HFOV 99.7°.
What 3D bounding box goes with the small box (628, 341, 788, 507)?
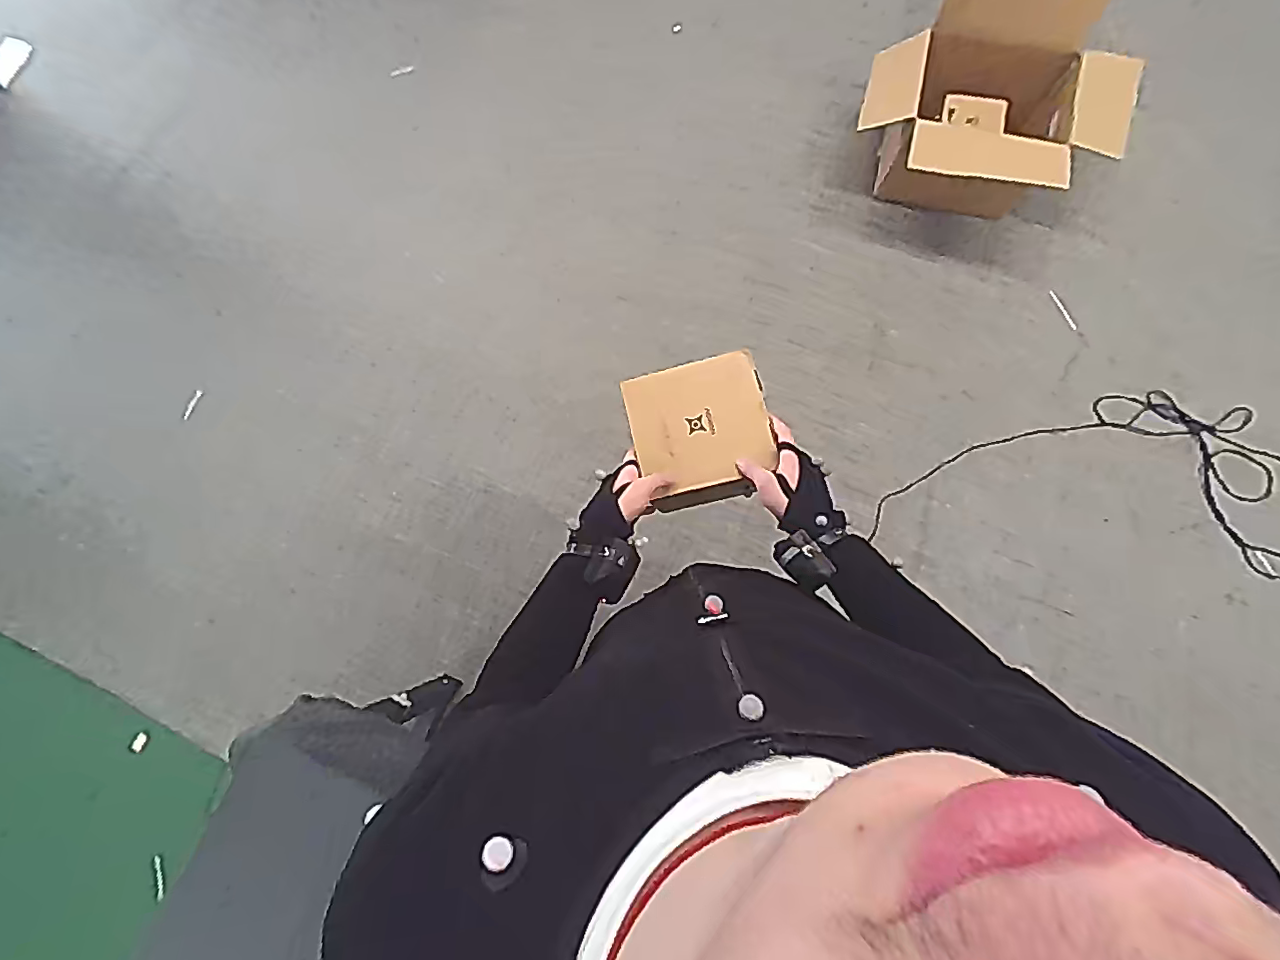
[{"bbox_3d":[0.093,-0.067,0.752,0.179,0.176,0.168,-12,77,7],"label":"small box"}]
